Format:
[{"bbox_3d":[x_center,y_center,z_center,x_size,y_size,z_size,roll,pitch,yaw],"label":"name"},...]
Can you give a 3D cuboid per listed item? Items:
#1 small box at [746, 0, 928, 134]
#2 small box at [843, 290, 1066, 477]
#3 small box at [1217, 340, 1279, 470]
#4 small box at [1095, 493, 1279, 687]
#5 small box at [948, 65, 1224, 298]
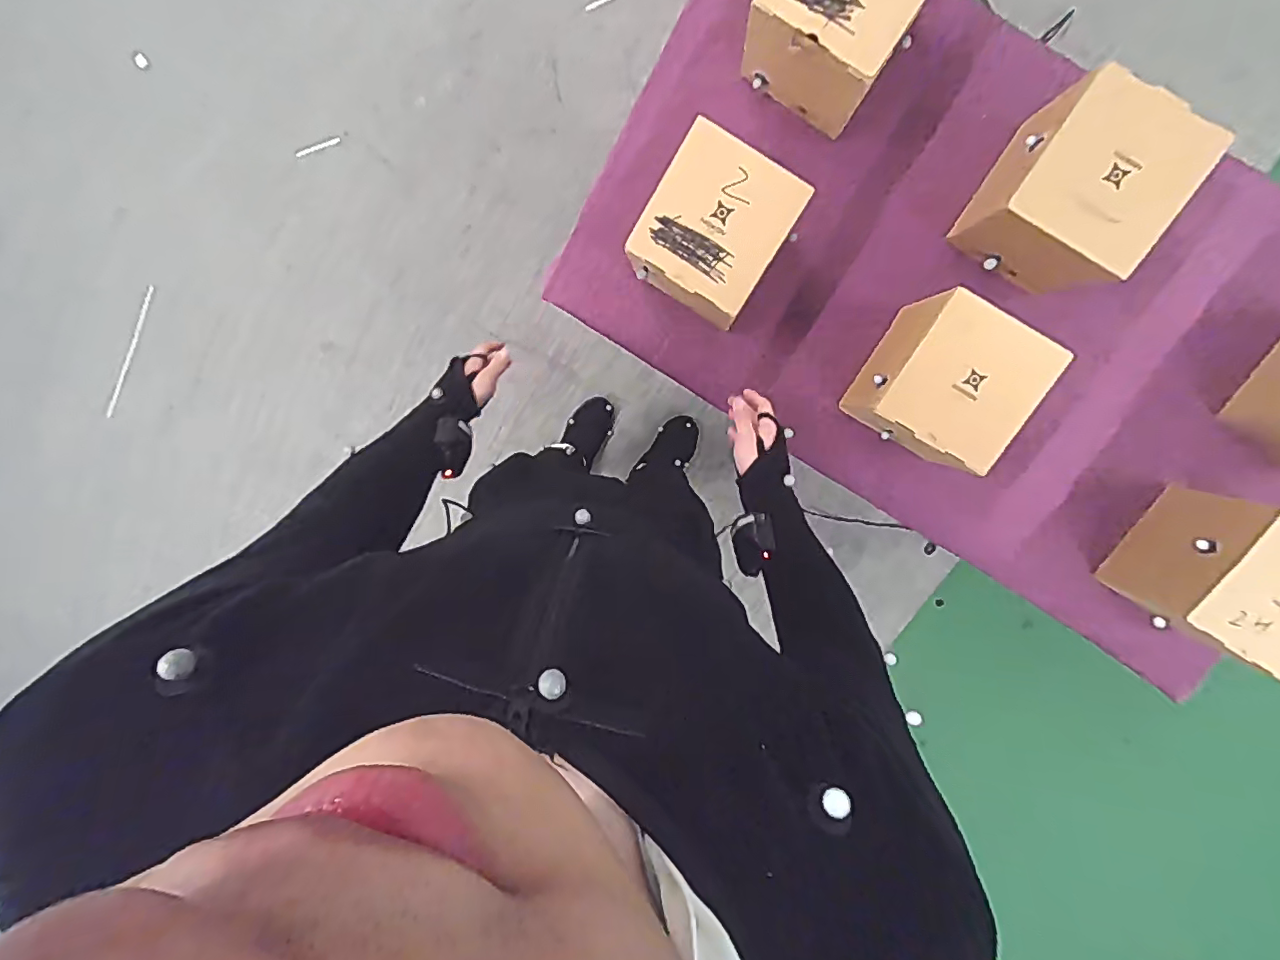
[{"bbox_3d":[0.247,-0.578,0.670,0.168,0.176,0.179,34,103,-2],"label":"small box"},{"bbox_3d":[0.409,-0.131,0.744,0.168,0.176,0.179,31,102,-1],"label":"small box"},{"bbox_3d":[0.936,-0.100,0.698,0.168,0.176,0.179,31,102,0],"label":"small box"},{"bbox_3d":[0.804,0.138,0.752,0.168,0.176,0.179,33,101,0],"label":"small box"},{"bbox_3d":[0.540,-0.358,0.689,0.168,0.176,0.179,32,103,-1],"label":"small box"}]
